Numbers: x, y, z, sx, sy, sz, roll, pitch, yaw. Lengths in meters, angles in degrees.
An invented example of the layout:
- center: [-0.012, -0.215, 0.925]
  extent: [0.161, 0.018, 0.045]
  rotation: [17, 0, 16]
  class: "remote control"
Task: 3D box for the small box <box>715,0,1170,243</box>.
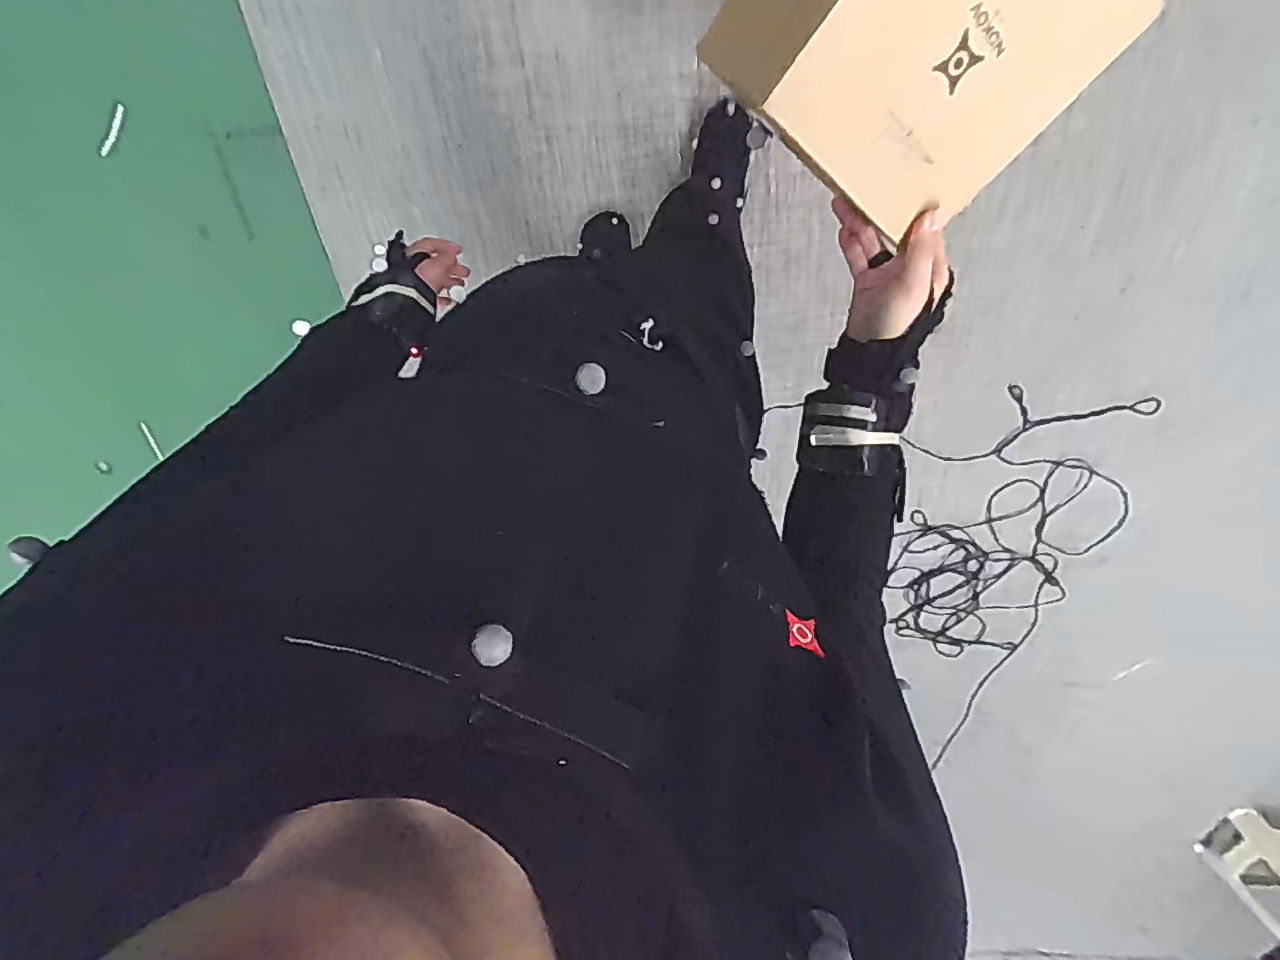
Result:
- center: [0.176, -0.307, 0.358]
  extent: [0.168, 0.176, 0.179]
  rotation: [22, 126, -33]
  class: "small box"
